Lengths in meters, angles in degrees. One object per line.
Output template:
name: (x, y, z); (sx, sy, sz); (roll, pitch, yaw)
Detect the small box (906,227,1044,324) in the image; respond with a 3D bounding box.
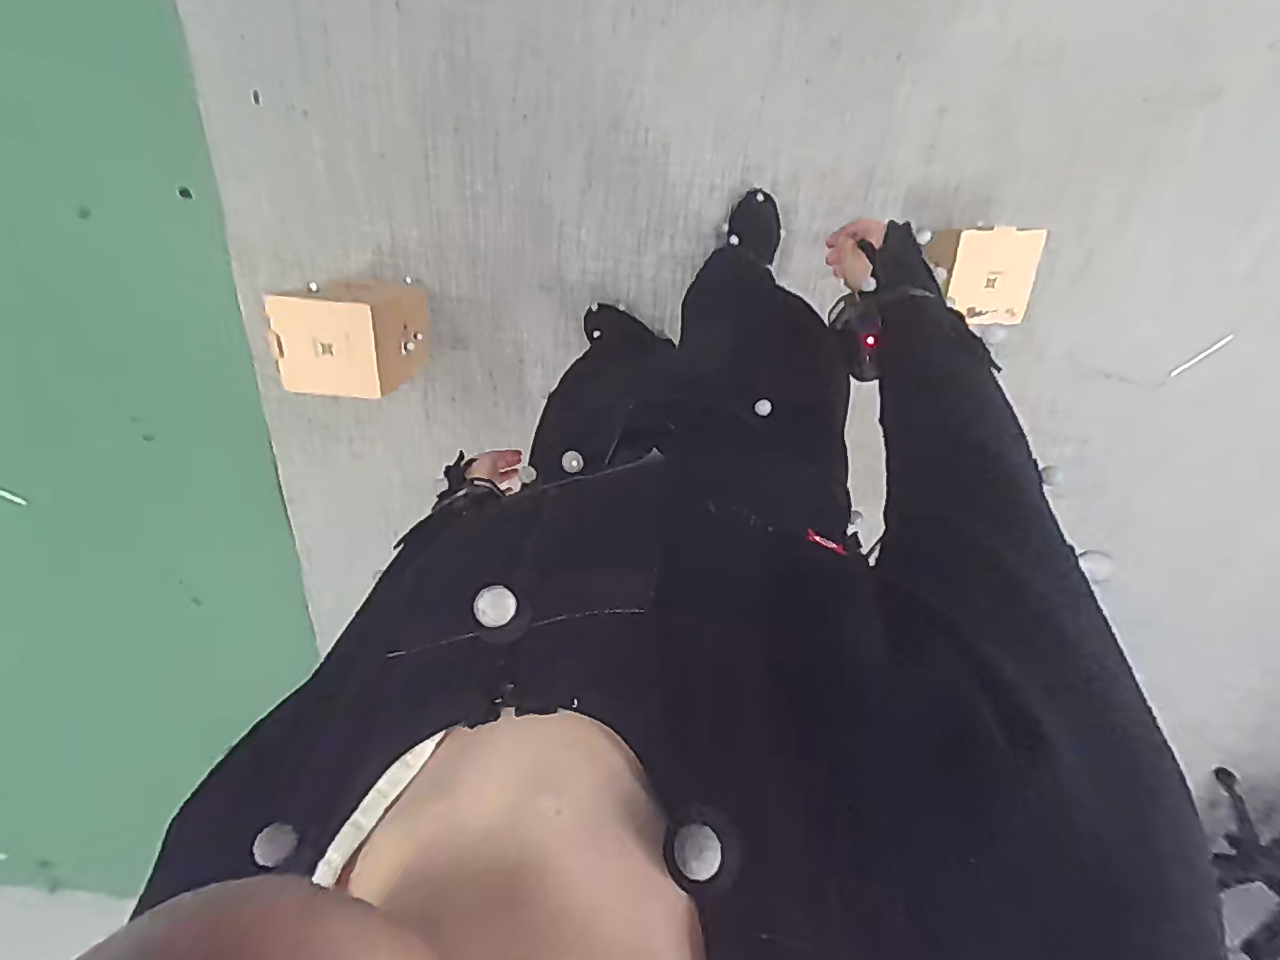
small box: (0.677, -0.422, 1.117); (0.168, 0.176, 0.179); (0, 114, -1)

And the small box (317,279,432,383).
small box: (-0.551, -0.321, 1.146); (0.168, 0.176, 0.179); (7, 115, -3)

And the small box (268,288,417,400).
small box: (-0.534, -0.256, 0.997); (0.179, 0.176, 0.168); (3, 116, -3)
